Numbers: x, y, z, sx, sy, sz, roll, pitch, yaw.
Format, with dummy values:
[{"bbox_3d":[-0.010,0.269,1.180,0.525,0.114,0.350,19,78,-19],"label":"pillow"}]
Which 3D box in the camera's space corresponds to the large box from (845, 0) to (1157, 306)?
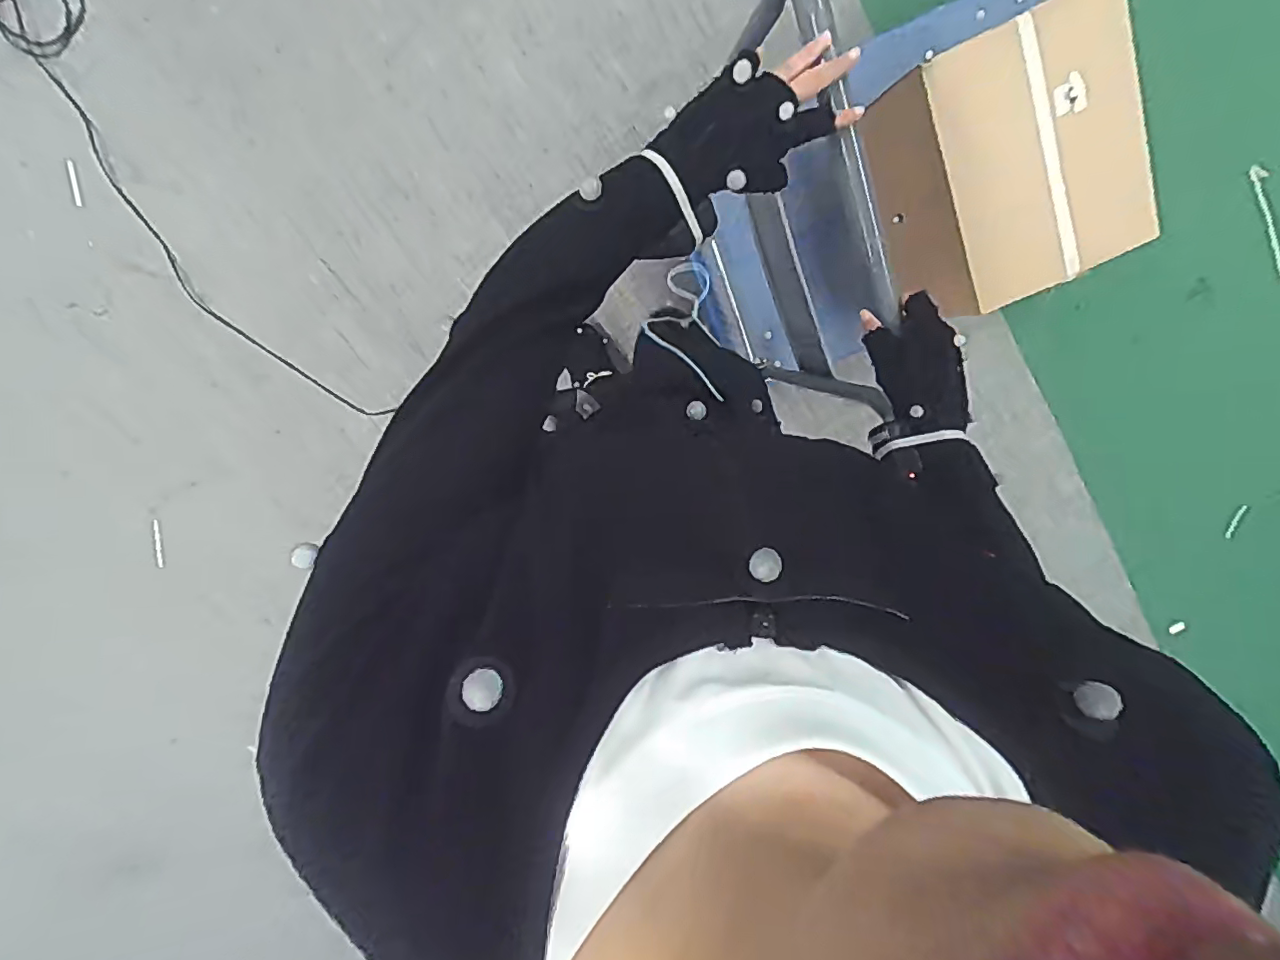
[{"bbox_3d":[0.638,-0.579,1.005,0.320,0.320,0.408,-24,105,5],"label":"large box"}]
